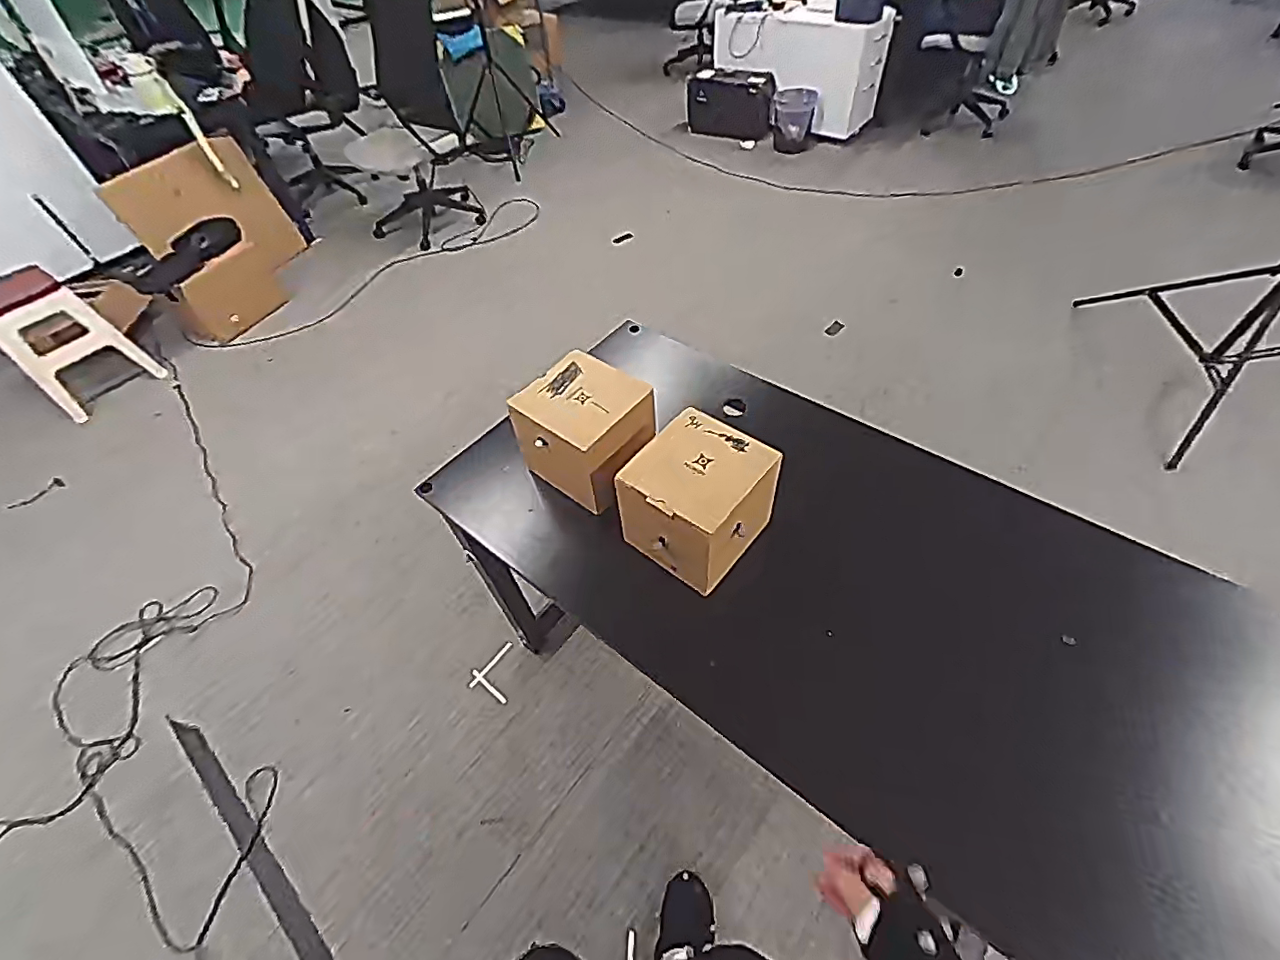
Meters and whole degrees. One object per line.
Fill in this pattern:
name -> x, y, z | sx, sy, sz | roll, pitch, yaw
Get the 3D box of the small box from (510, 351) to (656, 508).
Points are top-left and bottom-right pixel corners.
small box -> -0.089, -0.082, 0.920 | 0.179, 0.176, 0.168 | 32, 61, 25

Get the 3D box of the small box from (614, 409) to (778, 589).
small box -> 0.085, 0.032, 0.817 | 0.168, 0.176, 0.179 | 32, 61, 25
